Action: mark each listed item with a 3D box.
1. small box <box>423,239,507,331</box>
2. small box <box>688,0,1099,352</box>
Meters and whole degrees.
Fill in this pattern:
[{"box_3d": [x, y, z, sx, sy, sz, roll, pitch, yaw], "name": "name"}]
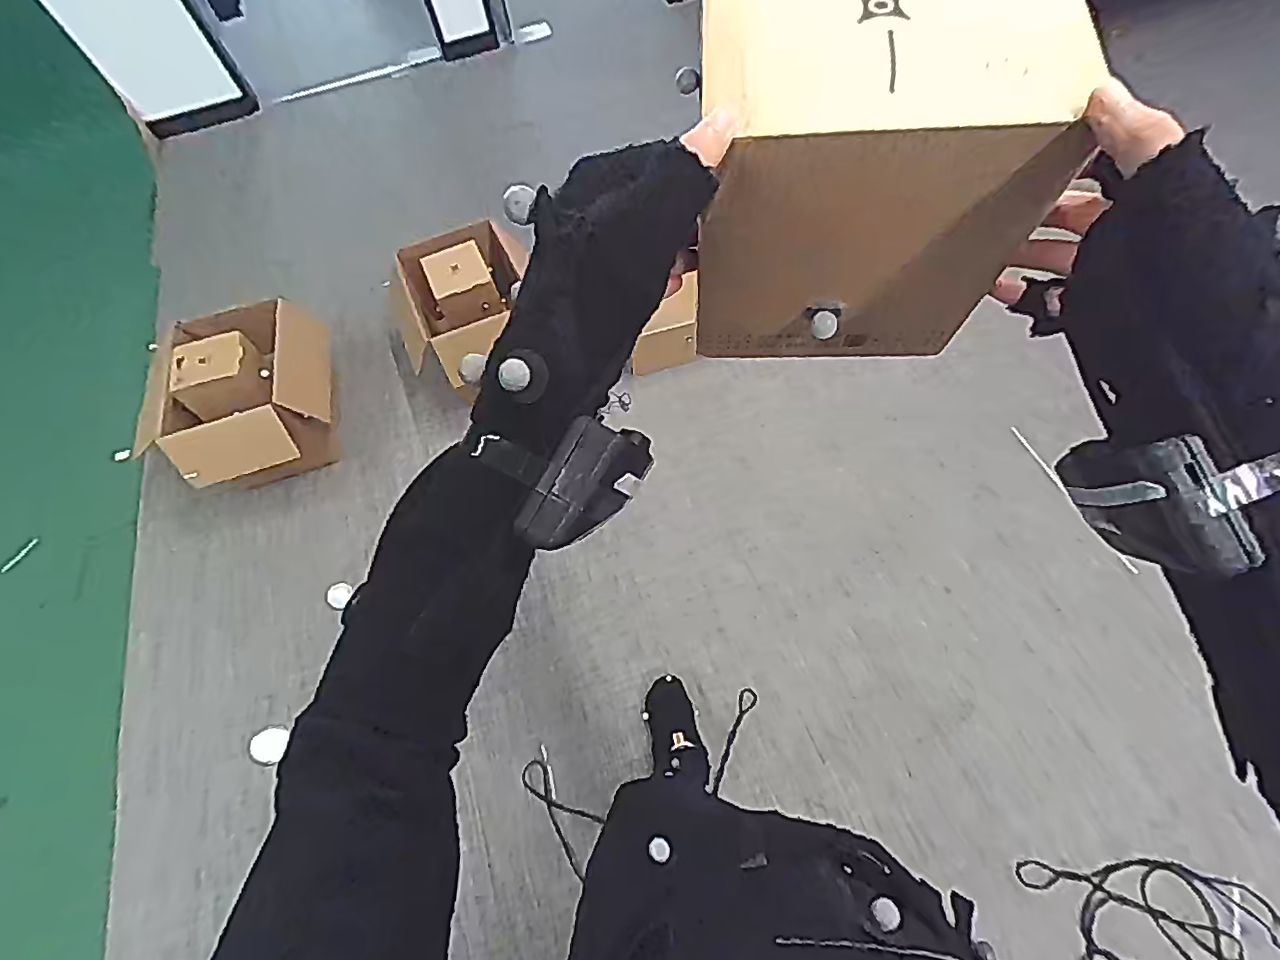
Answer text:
[{"box_3d": [-0.511, -0.566, 1.597, 0.168, 0.176, 0.179, -23, 66, -9], "name": "small box"}, {"box_3d": [0.114, -0.199, 0.328, 0.168, 0.176, 0.179, 1, 70, 6], "name": "small box"}]
